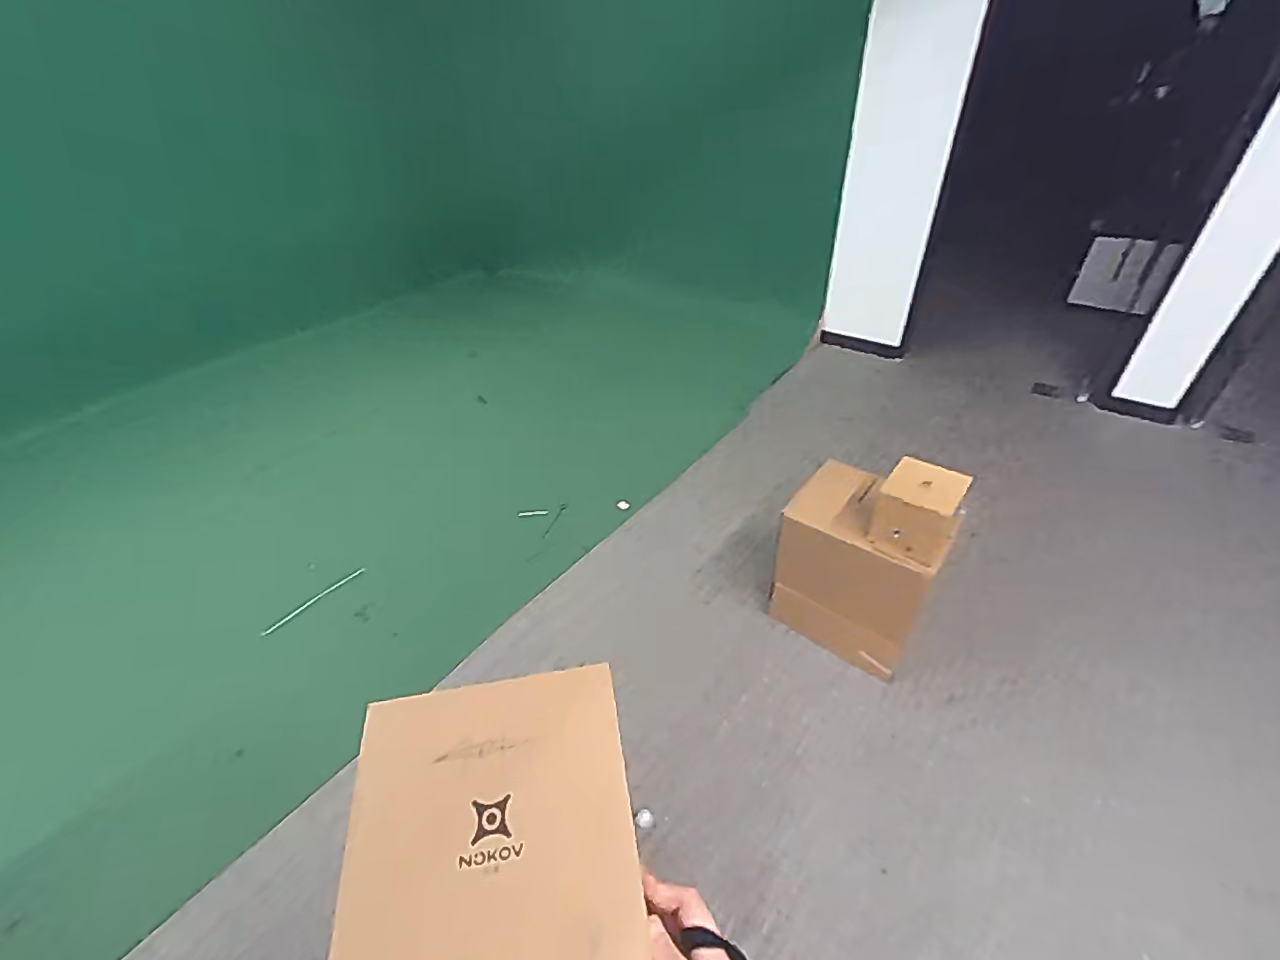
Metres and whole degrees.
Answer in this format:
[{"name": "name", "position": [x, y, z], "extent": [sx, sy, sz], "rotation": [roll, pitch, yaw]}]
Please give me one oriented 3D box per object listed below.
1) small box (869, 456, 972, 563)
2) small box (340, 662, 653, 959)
[{"name": "small box", "position": [0.704, 0.074, 1.370], "extent": [0.168, 0.176, 0.179], "rotation": [27, 49, 33]}, {"name": "small box", "position": [-0.084, 0.254, 0.383], "extent": [0.168, 0.176, 0.179], "rotation": [-5, 49, -7]}]
